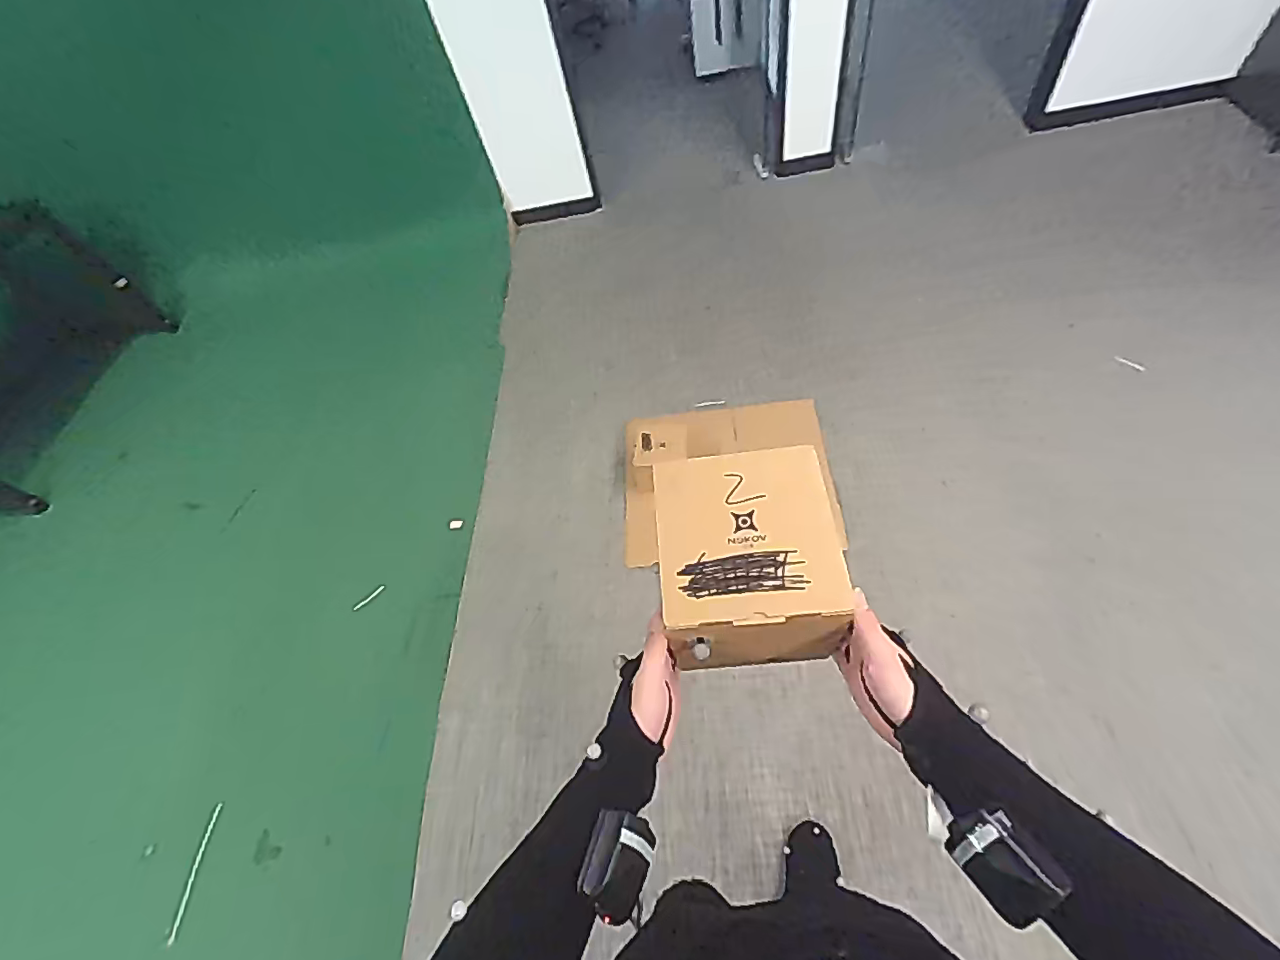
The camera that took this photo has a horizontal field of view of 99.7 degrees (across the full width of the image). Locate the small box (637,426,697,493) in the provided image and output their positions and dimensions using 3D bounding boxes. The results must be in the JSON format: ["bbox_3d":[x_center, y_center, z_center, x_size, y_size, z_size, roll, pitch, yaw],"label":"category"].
[{"bbox_3d":[0.097,-0.067,1.841,0.179,0.176,0.168,-2,58,11],"label":"small box"}]
